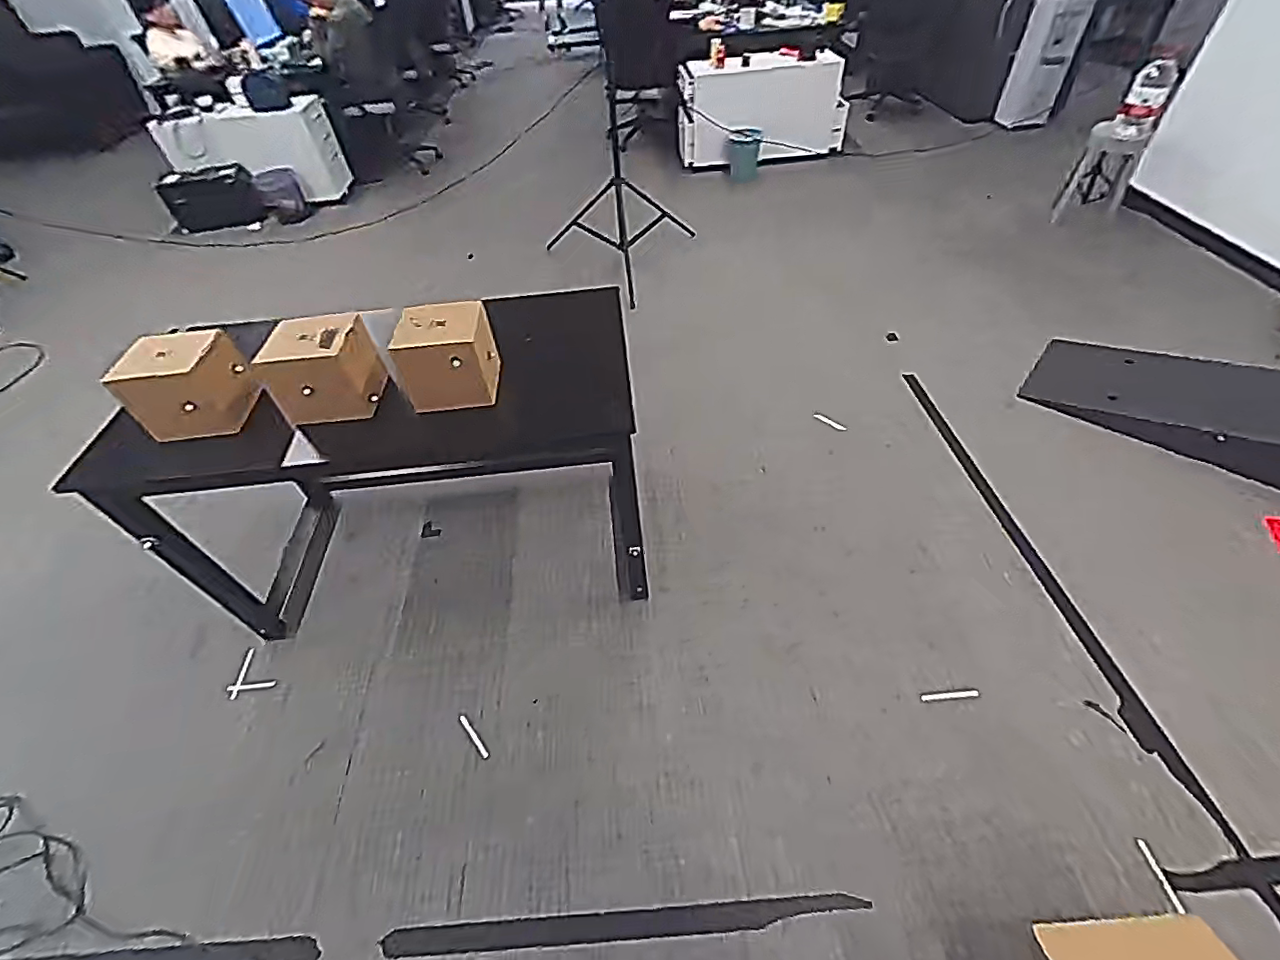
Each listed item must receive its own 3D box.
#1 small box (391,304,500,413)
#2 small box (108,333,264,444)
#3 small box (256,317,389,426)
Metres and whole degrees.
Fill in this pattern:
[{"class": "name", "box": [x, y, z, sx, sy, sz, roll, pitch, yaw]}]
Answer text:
[{"class": "small box", "box": [-0.420, -0.268, 1.203, 0.179, 0.176, 0.168, -6, 47, -1]}, {"class": "small box", "box": [-0.981, -0.199, 1.192, 0.179, 0.176, 0.168, -8, 47, -2]}, {"class": "small box", "box": [-0.688, -0.239, 1.201, 0.179, 0.176, 0.168, -6, 47, 1]}]
